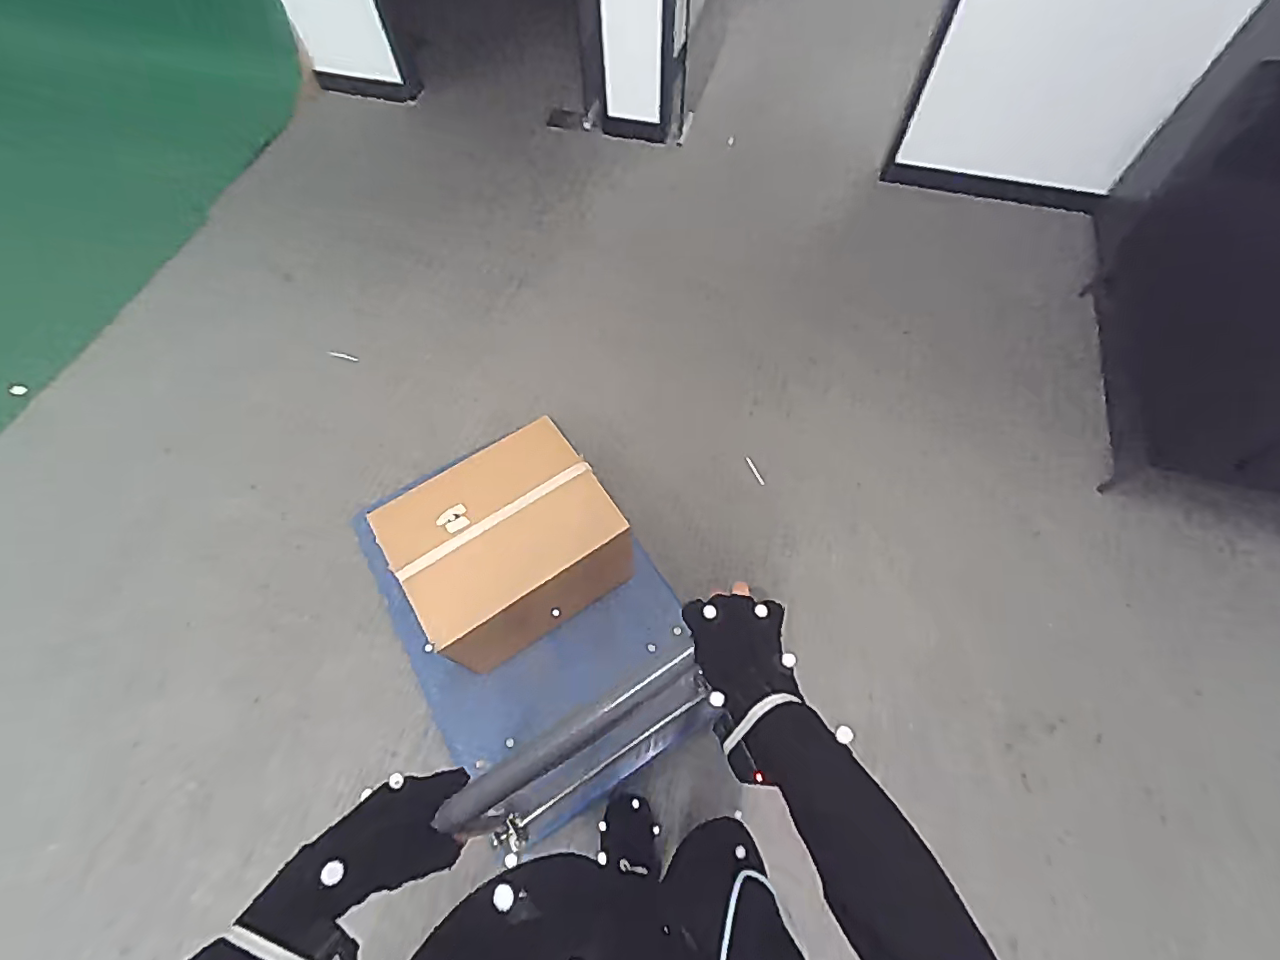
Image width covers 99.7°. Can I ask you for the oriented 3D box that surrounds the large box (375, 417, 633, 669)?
[{"bbox_3d":[-0.260,0.143,1.162,0.408,0.320,0.320,-32,67,-15],"label":"large box"}]
